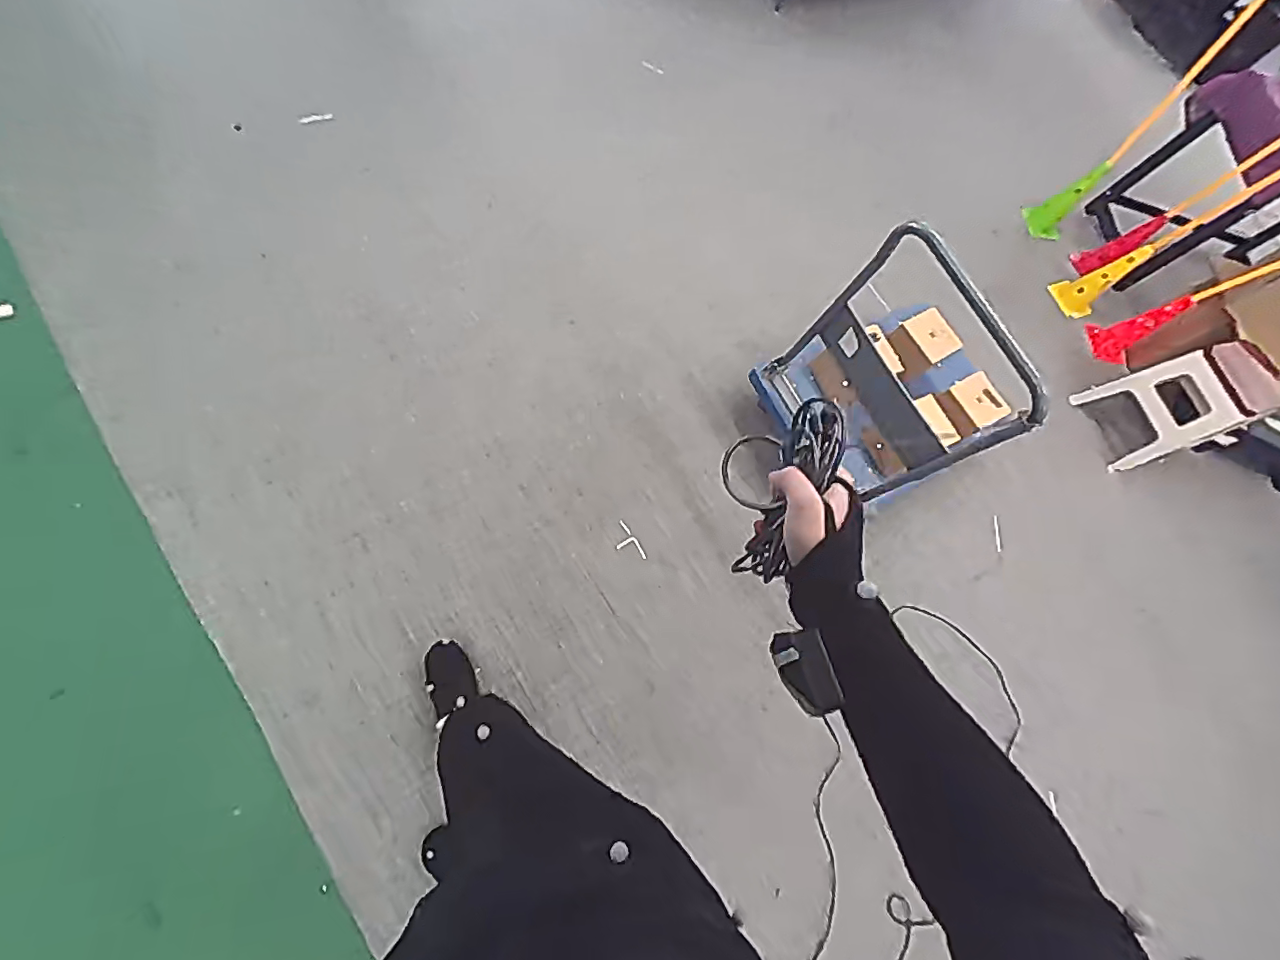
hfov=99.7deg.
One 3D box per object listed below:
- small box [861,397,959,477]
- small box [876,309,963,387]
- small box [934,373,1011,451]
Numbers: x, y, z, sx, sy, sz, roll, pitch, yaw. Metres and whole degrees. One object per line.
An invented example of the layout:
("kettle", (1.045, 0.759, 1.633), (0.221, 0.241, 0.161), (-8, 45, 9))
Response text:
("small box", (0.833, -0.131, 1.680), (0.179, 0.176, 0.168), (-22, 78, -22))
("small box", (0.930, -0.439, 1.823), (0.179, 0.176, 0.168), (-27, 80, -24))
("small box", (1.054, -0.219, 1.777), (0.179, 0.176, 0.168), (-26, 78, -23))
